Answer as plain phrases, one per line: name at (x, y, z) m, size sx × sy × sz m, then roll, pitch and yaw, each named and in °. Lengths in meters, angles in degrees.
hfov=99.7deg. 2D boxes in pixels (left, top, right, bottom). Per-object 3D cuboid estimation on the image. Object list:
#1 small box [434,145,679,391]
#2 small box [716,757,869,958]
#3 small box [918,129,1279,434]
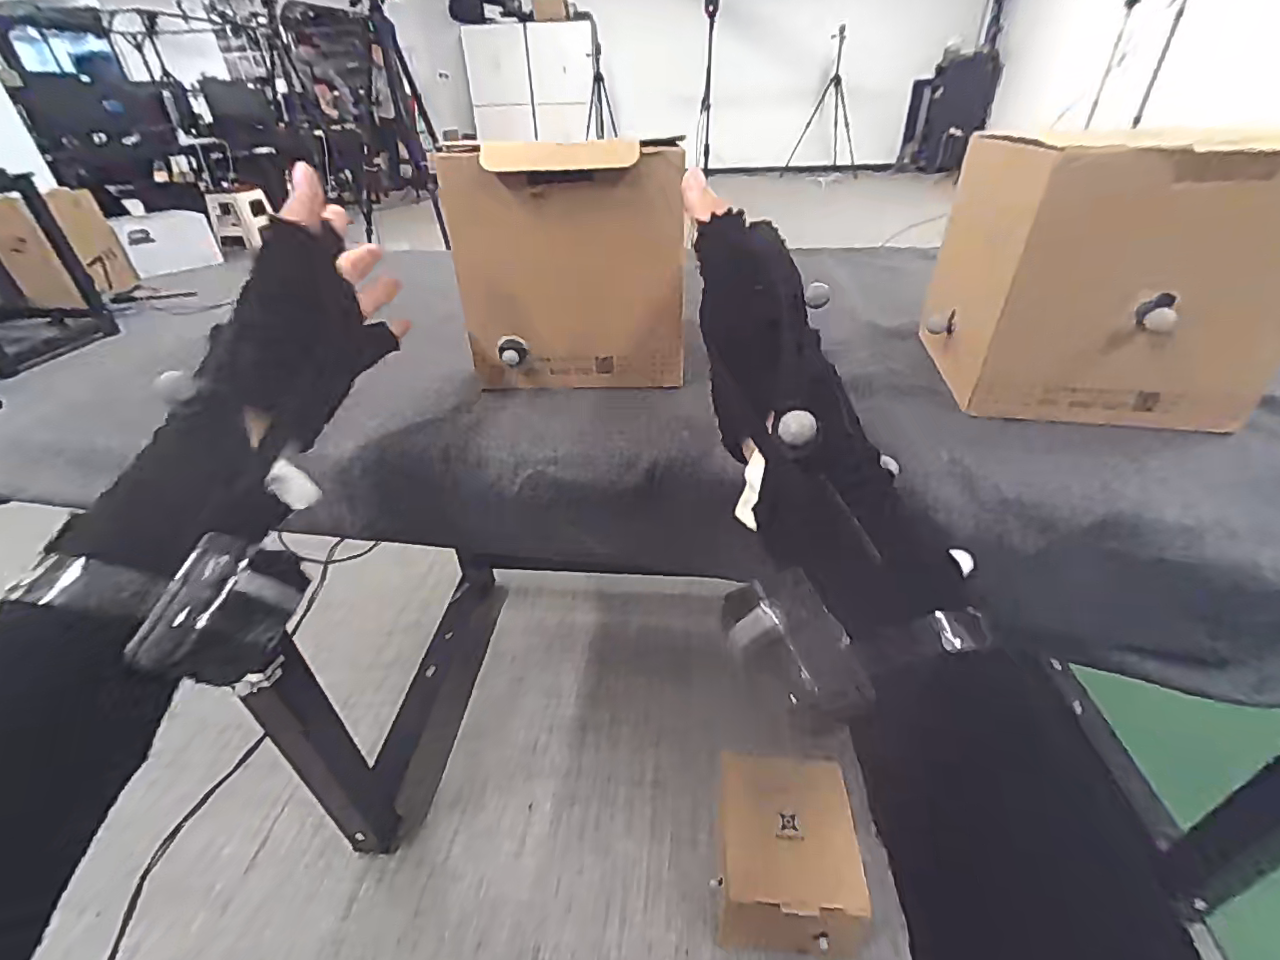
small box at (-0.050, -0.183, 0.465) m, size 0.168 × 0.176 × 0.179 m, roll 0°, pitch 32°, yaw 2°
small box at (0.191, 0.509, 0.734) m, size 0.168 × 0.176 × 0.179 m, roll 2°, pitch 33°, yaw 4°
small box at (0.323, -0.147, 0.394) m, size 0.168 × 0.176 × 0.179 m, roll 5°, pitch 35°, yaw 11°
